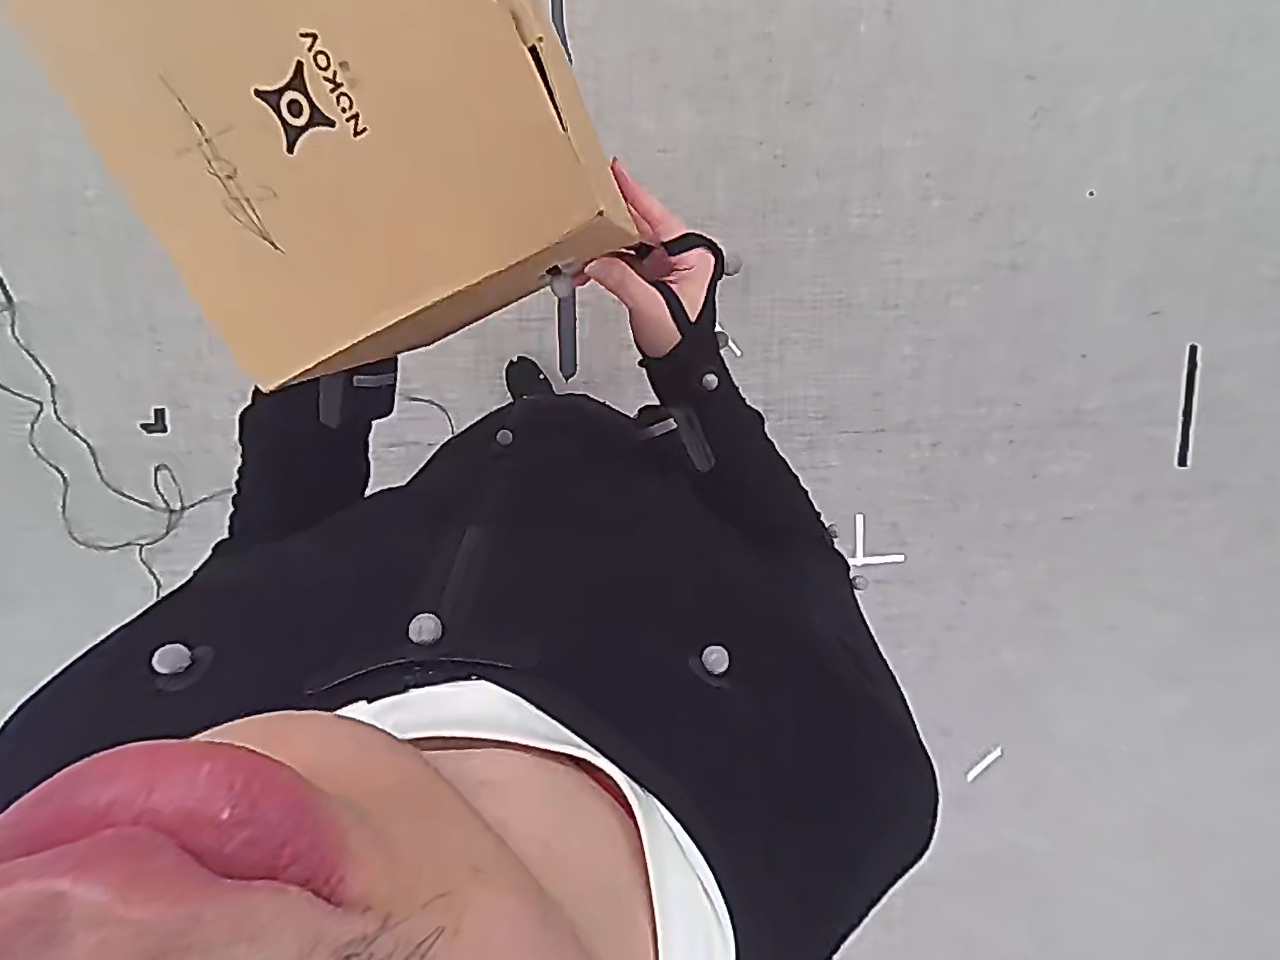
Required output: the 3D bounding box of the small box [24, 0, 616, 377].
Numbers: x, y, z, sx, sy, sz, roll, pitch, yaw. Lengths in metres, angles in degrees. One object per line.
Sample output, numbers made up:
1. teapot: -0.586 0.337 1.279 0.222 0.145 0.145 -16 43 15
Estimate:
1. small box: -0.122 -0.177 0.288 0.179 0.176 0.168 -21 108 13
